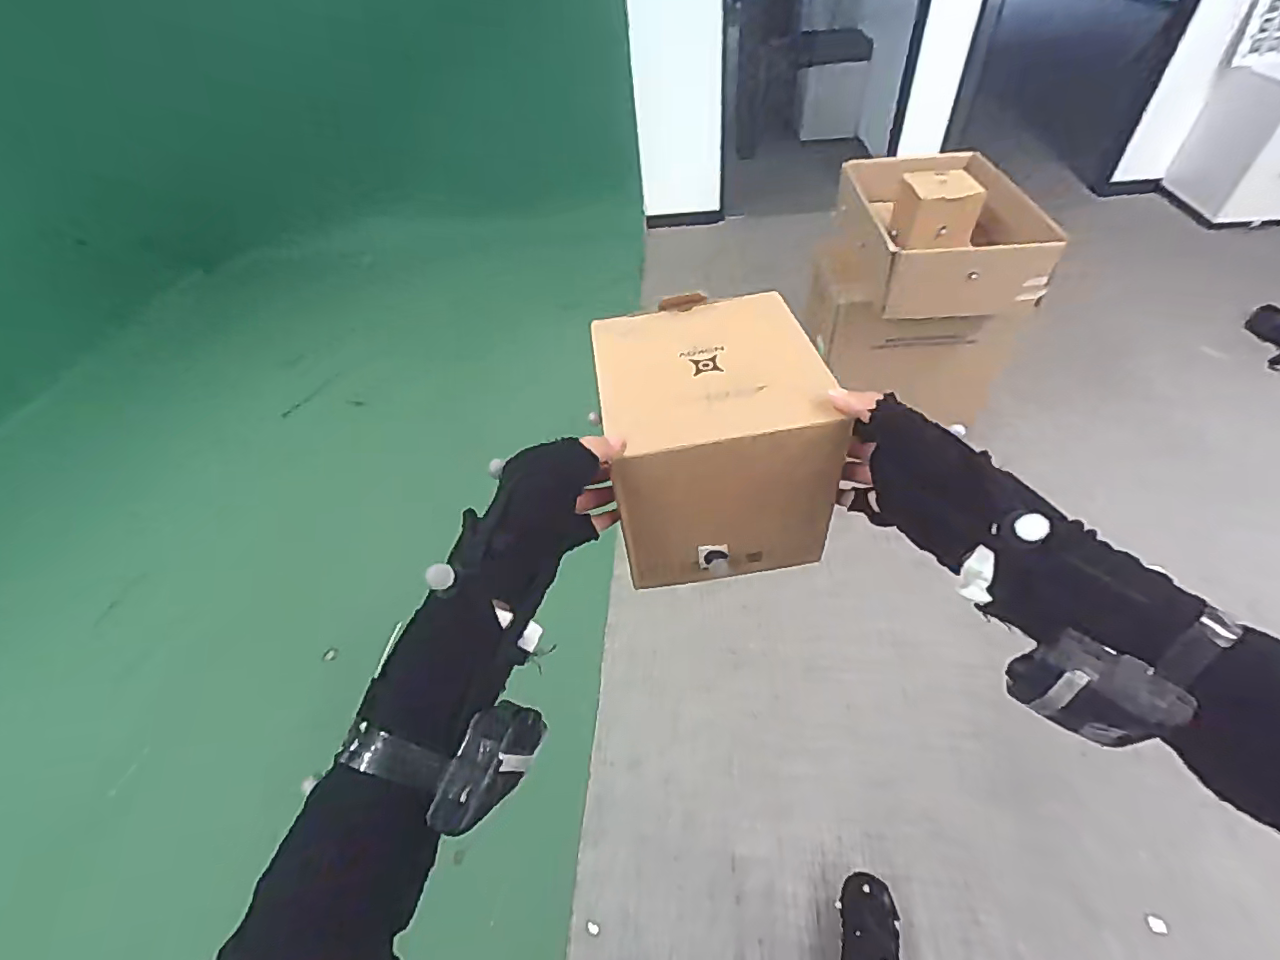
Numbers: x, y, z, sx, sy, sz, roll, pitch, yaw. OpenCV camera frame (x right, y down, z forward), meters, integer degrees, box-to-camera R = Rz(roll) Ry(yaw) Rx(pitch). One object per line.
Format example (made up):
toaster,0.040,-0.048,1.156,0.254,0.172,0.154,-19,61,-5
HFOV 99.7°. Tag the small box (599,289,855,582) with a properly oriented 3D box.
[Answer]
small box,0.059,-0.038,0.465,0.168,0.176,0.179,-9,47,0

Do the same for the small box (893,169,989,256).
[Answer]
small box,0.827,-0.738,1.505,0.168,0.176,0.179,-1,48,5
